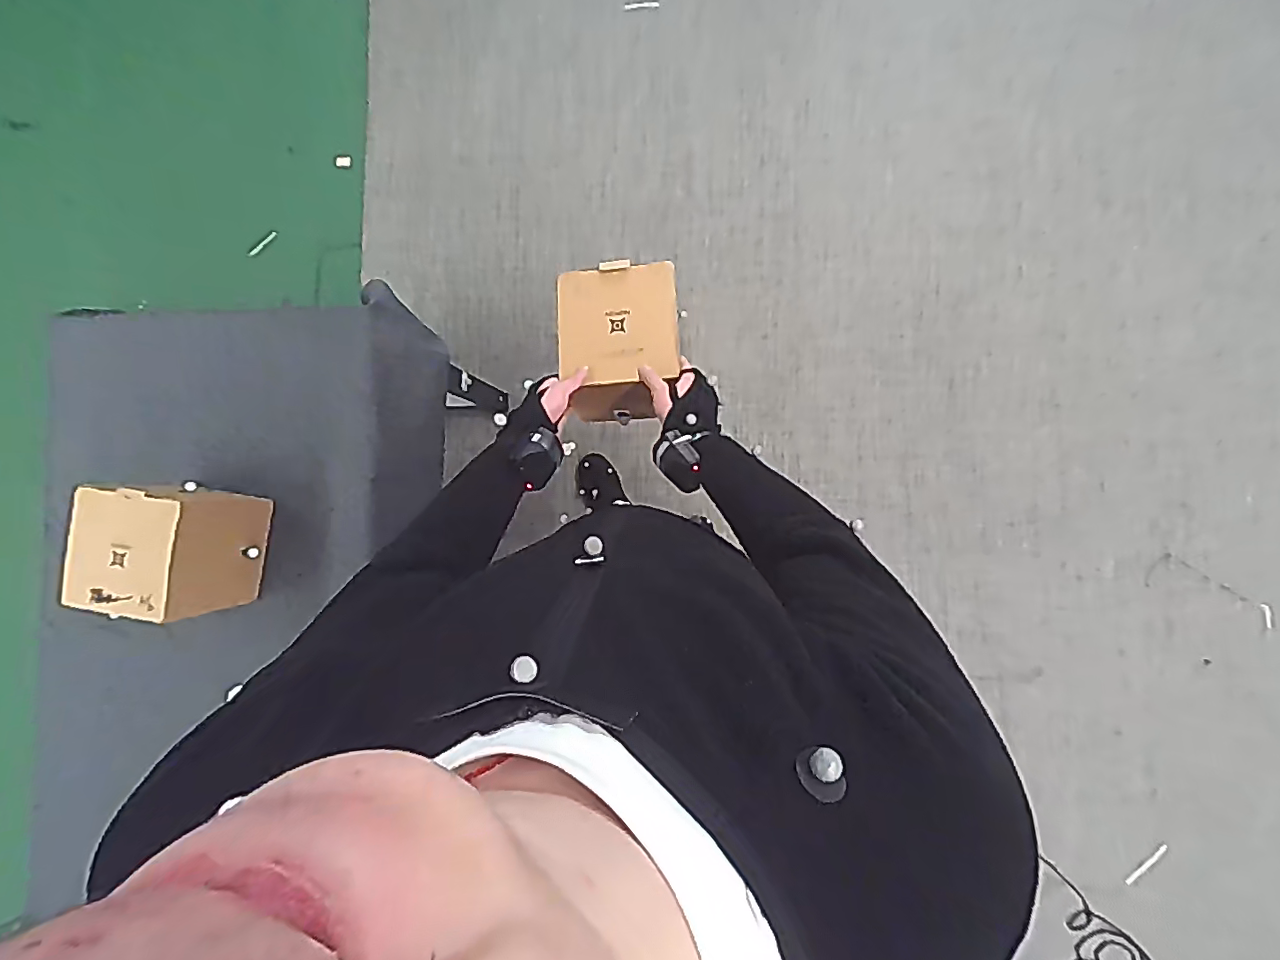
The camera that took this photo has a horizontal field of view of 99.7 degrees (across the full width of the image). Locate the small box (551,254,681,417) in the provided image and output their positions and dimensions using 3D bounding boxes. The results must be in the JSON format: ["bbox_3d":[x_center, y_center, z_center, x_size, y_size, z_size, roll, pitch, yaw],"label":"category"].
[{"bbox_3d":[-0.027,-0.203,0.798,0.168,0.176,0.179,-2,79,7],"label":"small box"}]

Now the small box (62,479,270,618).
[{"bbox_3d":[-0.722,0.100,0.845,0.168,0.176,0.179,9,89,6],"label":"small box"}]
